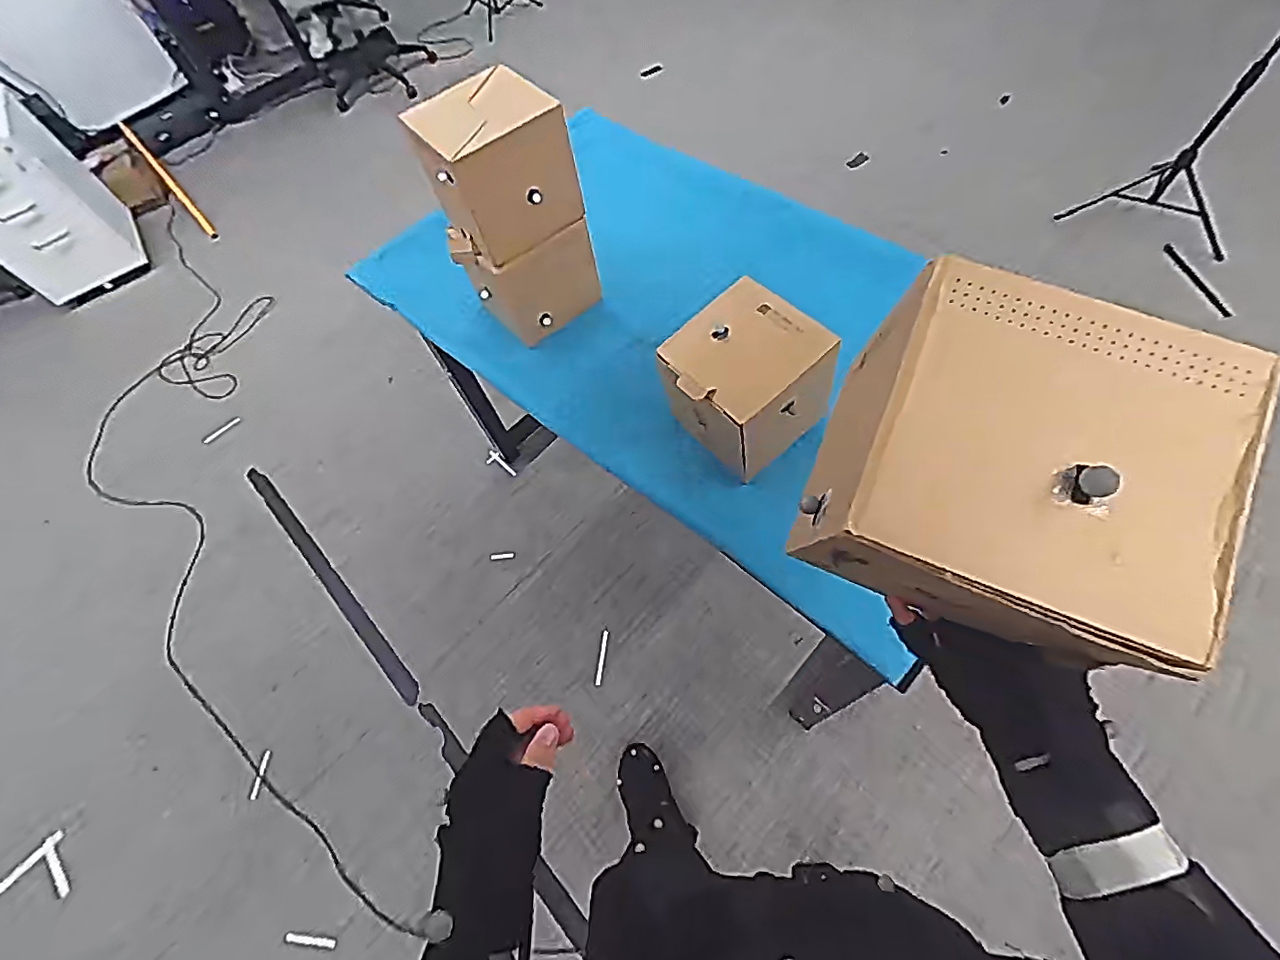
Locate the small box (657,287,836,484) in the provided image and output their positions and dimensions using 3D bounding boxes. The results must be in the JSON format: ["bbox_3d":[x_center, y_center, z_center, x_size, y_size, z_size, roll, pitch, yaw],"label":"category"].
[{"bbox_3d":[0.150,-0.131,0.757,0.176,0.179,0.168,-41,64,-6],"label":"small box"}]

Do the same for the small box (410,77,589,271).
[{"bbox_3d":[-0.208,-0.460,0.811,0.179,0.176,0.168,-37,63,-11],"label":"small box"}]

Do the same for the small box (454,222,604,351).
[{"bbox_3d":[-0.191,-0.369,0.948,0.179,0.176,0.168,-40,64,-14],"label":"small box"}]

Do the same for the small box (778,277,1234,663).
[{"bbox_3d":[0.215,-0.004,0.357,0.179,0.168,0.176,21,81,7],"label":"small box"}]
